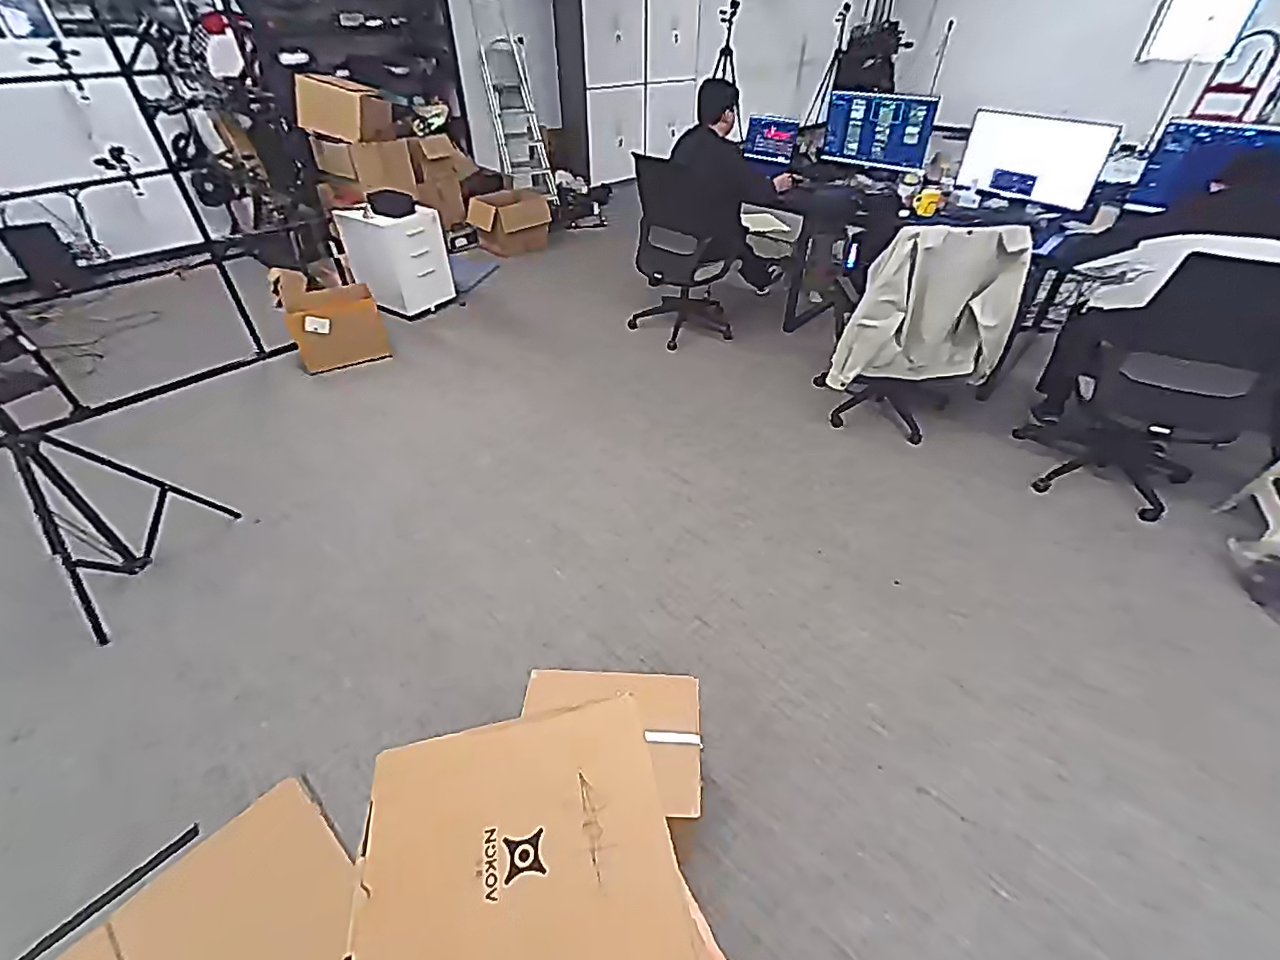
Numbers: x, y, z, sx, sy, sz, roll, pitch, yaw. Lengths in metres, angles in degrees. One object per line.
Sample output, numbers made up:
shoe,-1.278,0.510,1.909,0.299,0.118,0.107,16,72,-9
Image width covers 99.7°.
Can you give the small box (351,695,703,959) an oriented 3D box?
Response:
small box,-0.066,0.276,0.356,0.179,0.176,0.168,-9,40,-11
